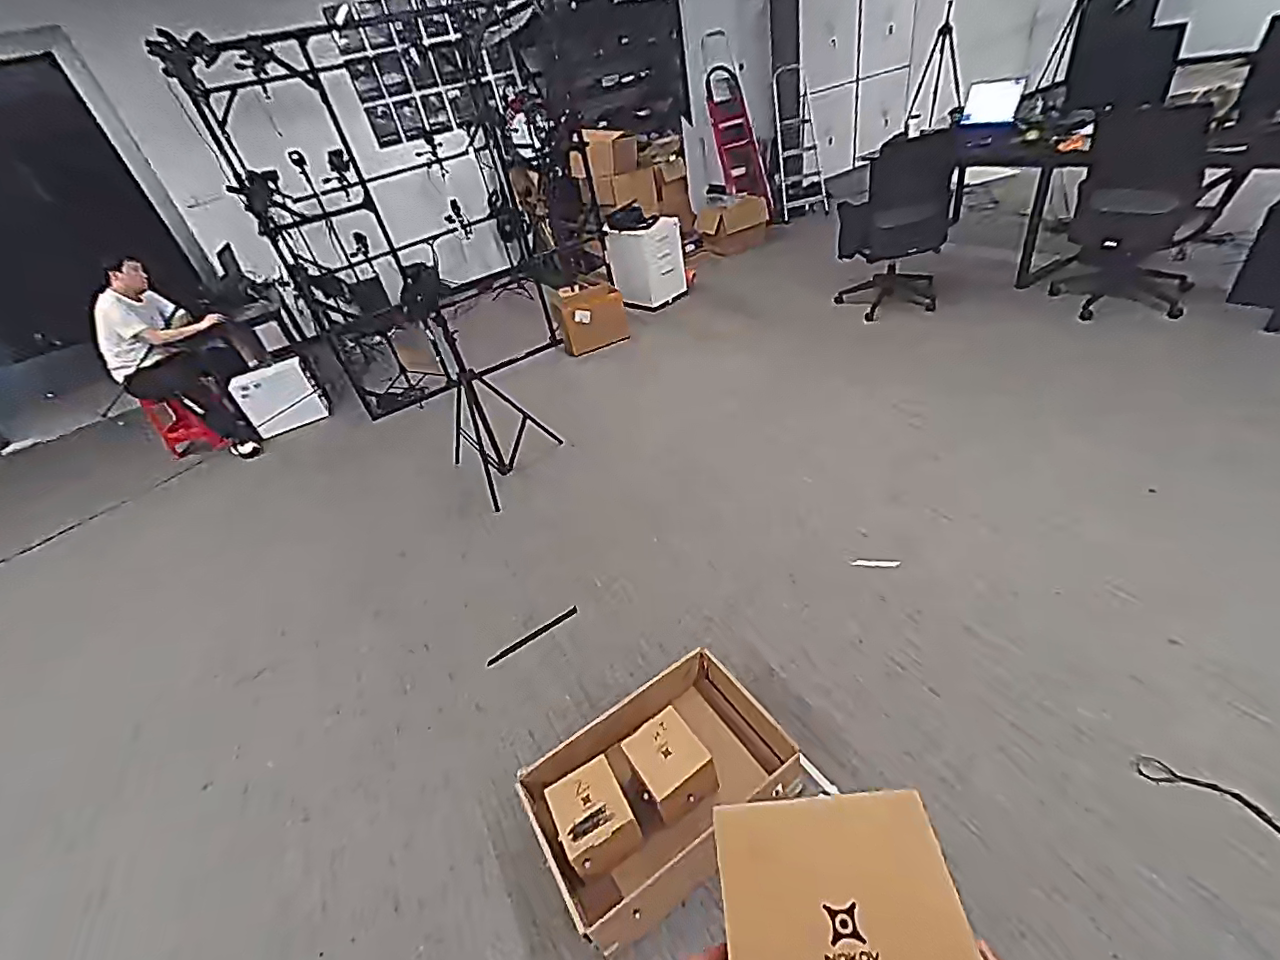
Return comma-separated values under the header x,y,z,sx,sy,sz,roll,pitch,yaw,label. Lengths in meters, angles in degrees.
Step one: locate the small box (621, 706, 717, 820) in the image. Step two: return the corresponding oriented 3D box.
x,y,z,sx,sy,sz,roll,pitch,yaw,label
0.078,0.729,1.380,0.168,0.176,0.179,-29,40,-20,small box
